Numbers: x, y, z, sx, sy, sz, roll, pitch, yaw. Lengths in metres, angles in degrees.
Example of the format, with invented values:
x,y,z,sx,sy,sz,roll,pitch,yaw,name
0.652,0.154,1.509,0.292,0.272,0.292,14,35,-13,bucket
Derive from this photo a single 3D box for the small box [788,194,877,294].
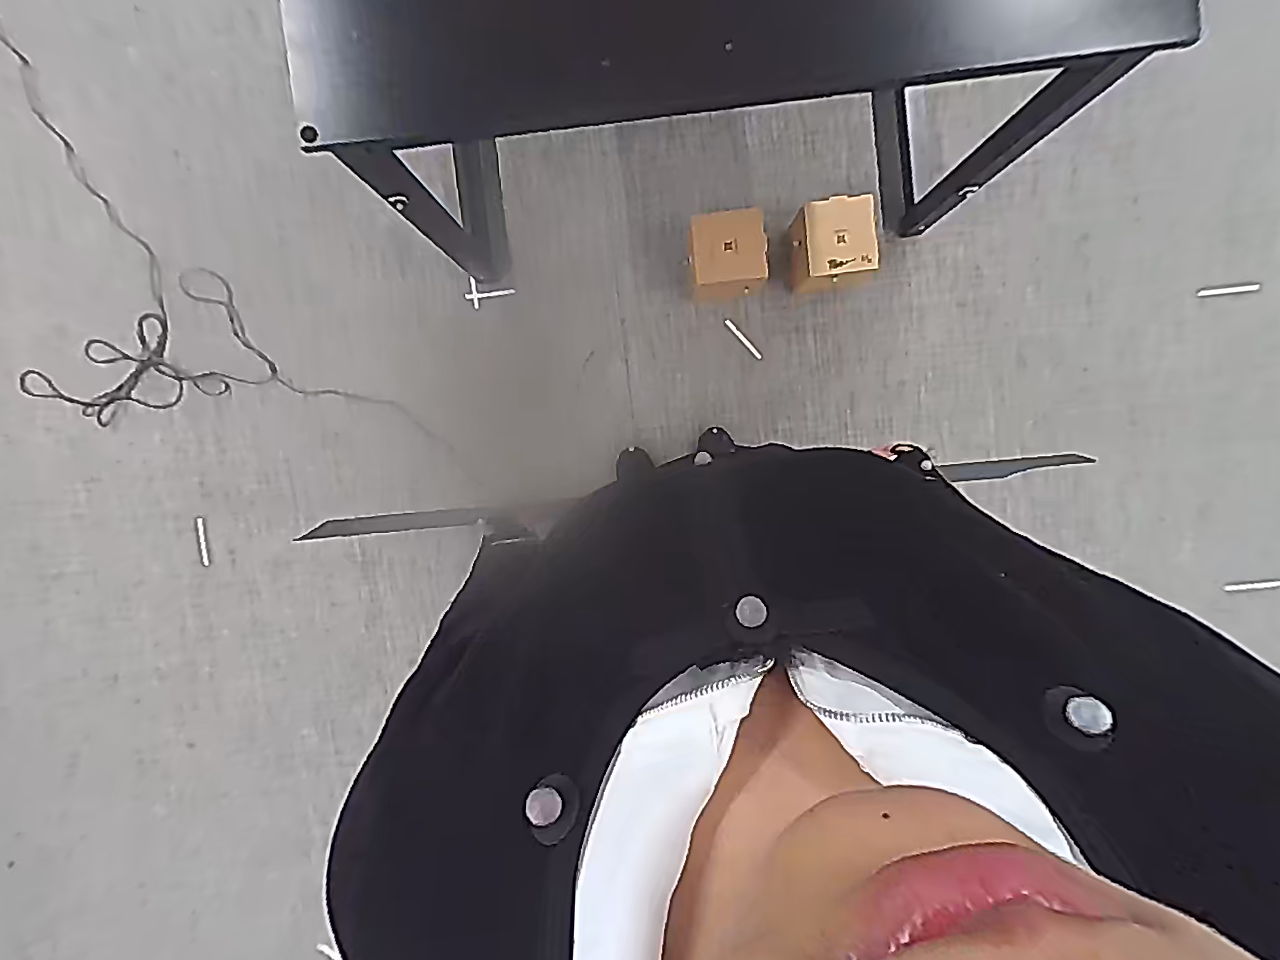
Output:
x,y,z,sx,sy,sz,roll,pitch,yaw,name
0.477,-0.586,1.361,0.168,0.176,0.179,-7,94,3,small box

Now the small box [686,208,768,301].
x,y,z,sx,sy,sz,roll,pitch,yaw,name
0.215,-0.565,1.373,0.179,0.176,0.168,-6,93,3,small box
